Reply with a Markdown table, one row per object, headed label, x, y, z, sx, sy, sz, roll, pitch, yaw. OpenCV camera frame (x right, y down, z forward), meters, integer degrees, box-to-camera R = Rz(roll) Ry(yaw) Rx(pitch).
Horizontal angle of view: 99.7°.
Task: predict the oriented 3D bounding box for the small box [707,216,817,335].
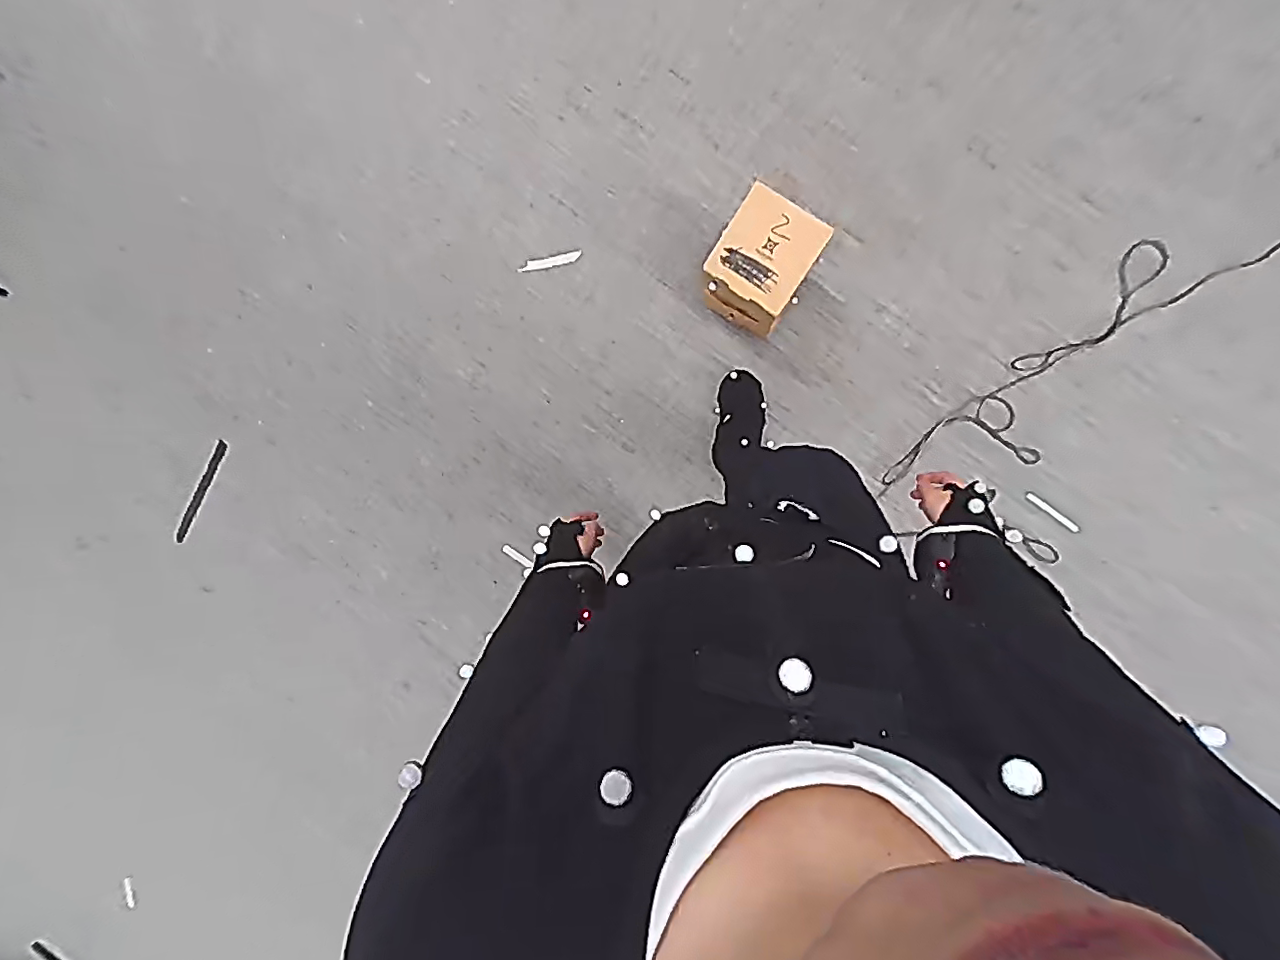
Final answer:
| label | x | y | z | sx | sy | sz | roll | pitch | yaw |
| --- | --- | --- | --- | --- | --- | --- | --- | --- | --- |
| small box | 0.260 | -0.439 | 1.191 | 0.168 | 0.176 | 0.179 | 29 | 103 | 4 |
